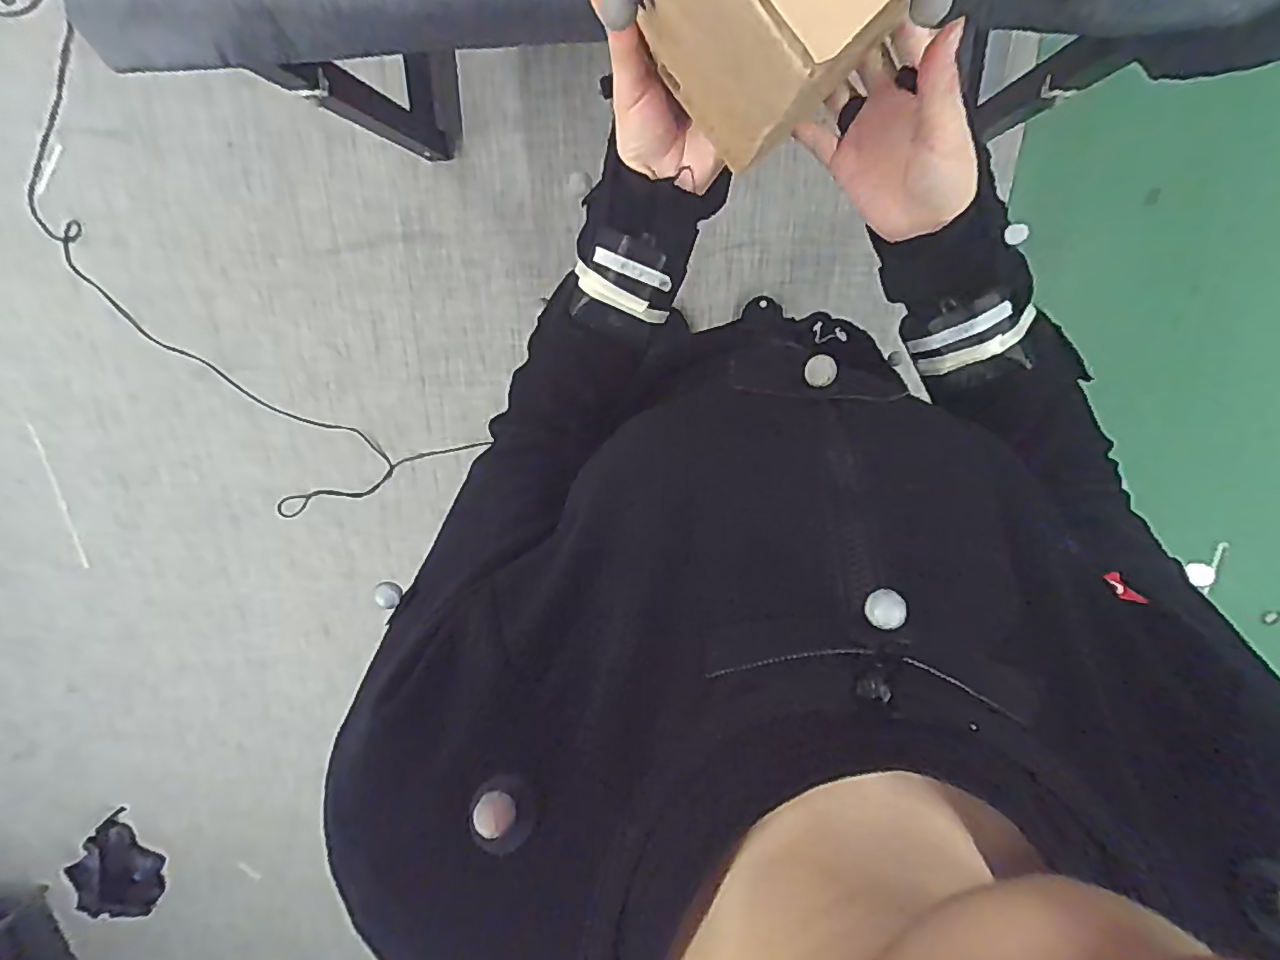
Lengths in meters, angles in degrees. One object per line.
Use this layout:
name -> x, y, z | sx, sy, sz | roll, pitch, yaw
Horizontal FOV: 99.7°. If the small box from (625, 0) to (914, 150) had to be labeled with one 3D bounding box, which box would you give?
small box -> 0.061, -0.258, 0.191 | 0.179, 0.176, 0.168 | -41, 104, 17
